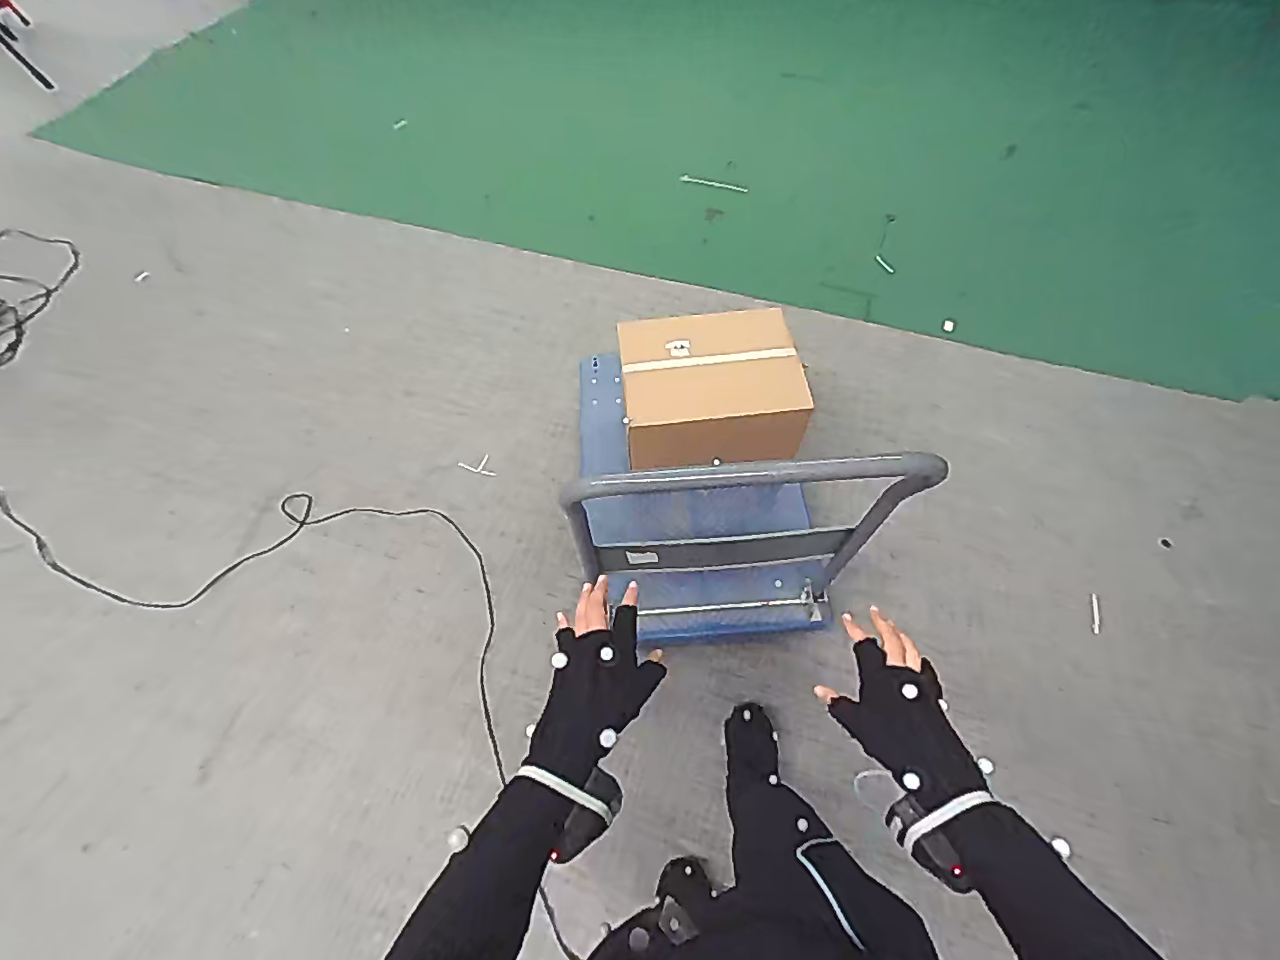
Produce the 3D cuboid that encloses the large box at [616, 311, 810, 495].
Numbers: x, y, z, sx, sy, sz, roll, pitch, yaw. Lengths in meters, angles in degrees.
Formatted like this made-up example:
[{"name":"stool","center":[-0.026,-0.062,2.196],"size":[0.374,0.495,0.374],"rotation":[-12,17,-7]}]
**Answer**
[{"name":"large box","center":[0.165,-0.184,1.366],"size":[0.408,0.320,0.320],"rotation":[-7,59,0]}]
